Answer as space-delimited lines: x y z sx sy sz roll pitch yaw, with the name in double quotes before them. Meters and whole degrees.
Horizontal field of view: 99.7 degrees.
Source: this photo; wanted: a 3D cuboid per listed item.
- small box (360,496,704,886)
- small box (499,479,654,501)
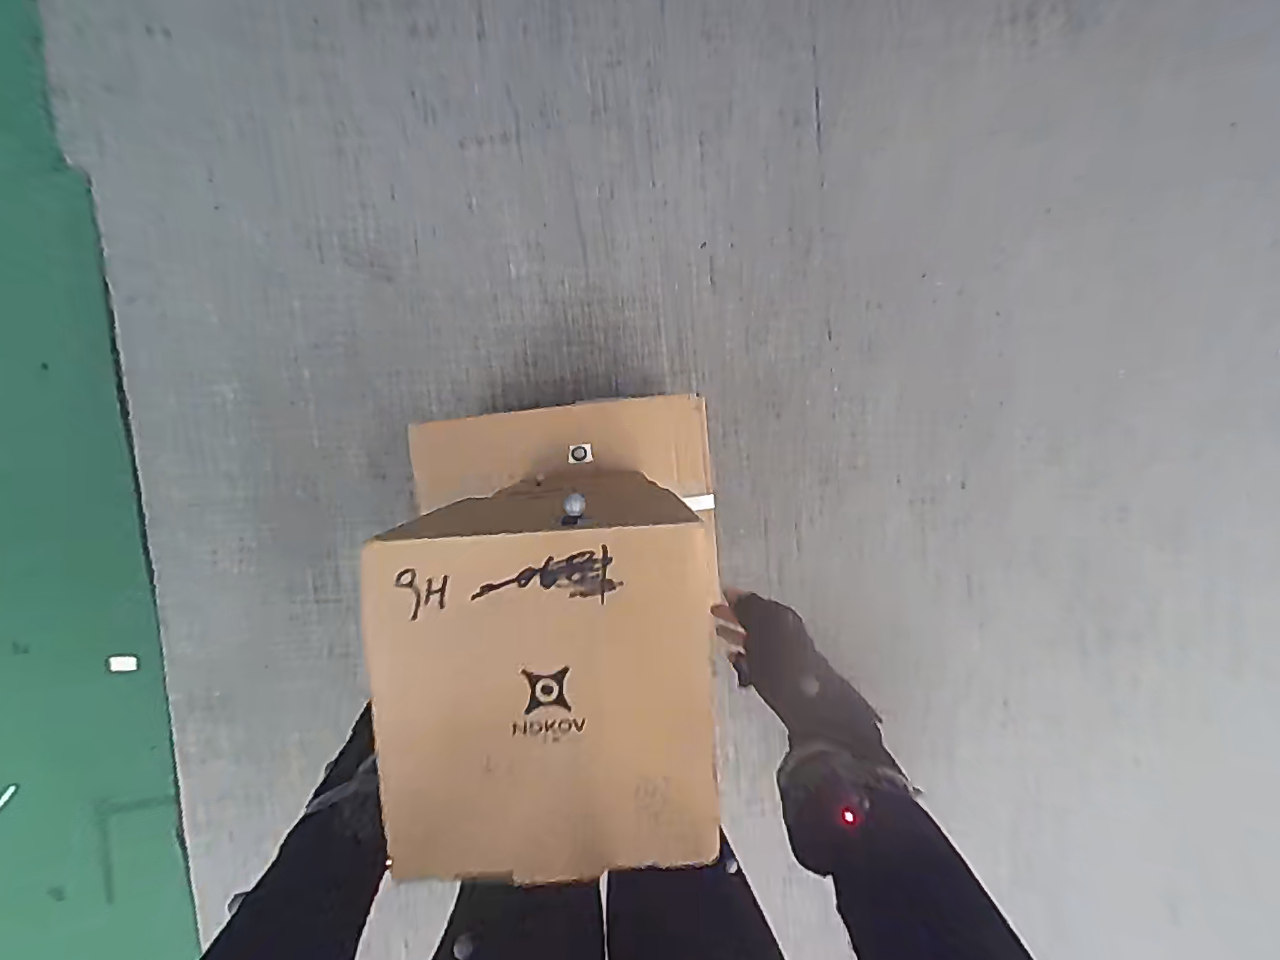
"small box" -0.051 0.110 0.347 0.168 0.176 0.179 -3 95 -1
"small box" -0.068 0.091 0.674 0.179 0.176 0.168 -6 95 -3
